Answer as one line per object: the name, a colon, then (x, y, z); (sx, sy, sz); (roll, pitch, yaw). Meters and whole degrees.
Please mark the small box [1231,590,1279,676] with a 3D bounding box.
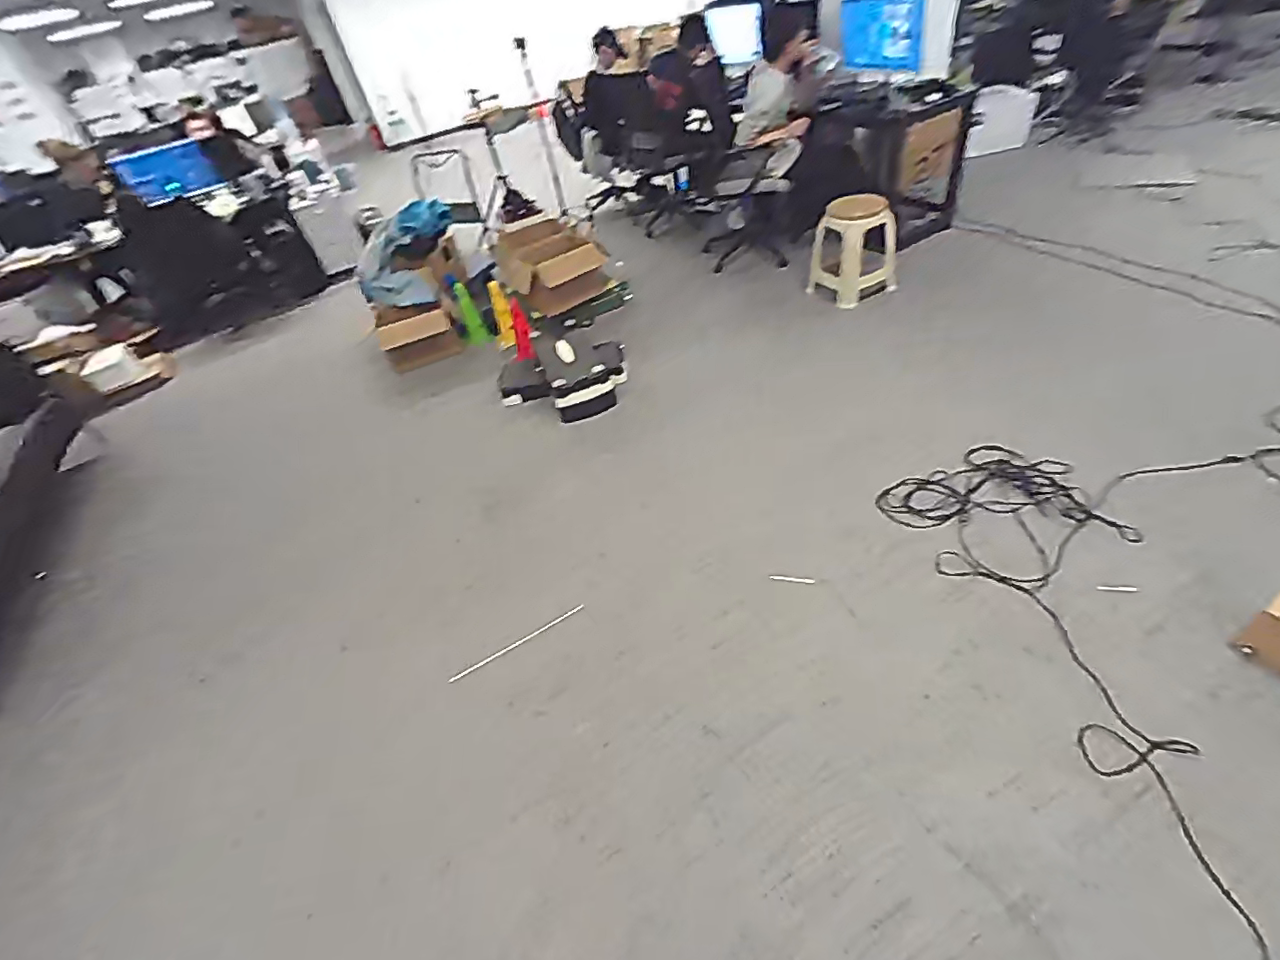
small box: (1.587, 0.367, 1.291); (0.179, 0.176, 0.168); (-28, 44, -16)
